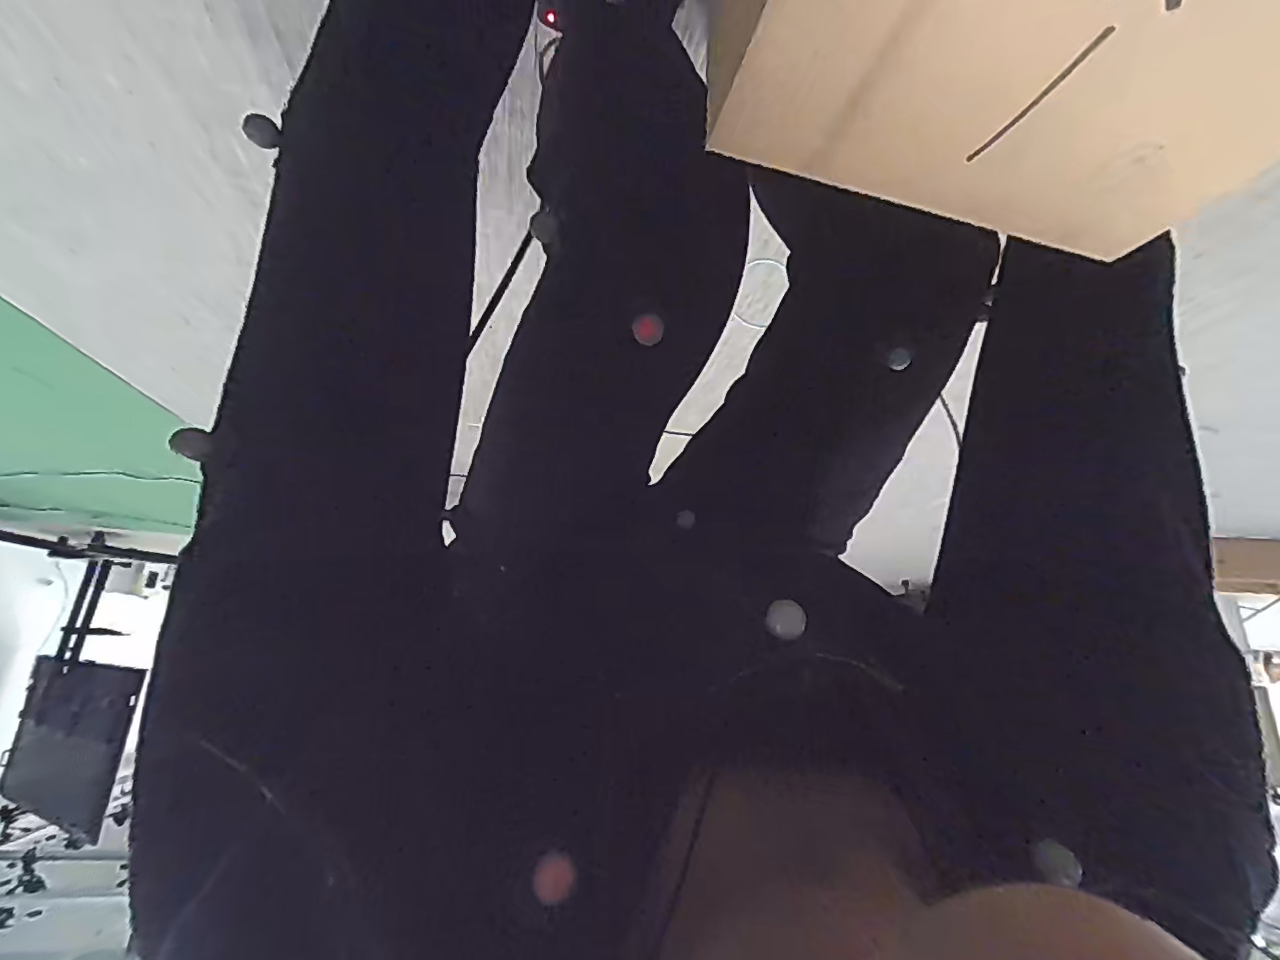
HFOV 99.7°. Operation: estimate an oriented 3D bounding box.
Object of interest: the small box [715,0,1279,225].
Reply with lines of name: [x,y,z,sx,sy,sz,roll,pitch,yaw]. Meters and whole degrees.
small box: [0.123,-0.207,0.131,0.168,0.176,0.179,8,161,-12]
